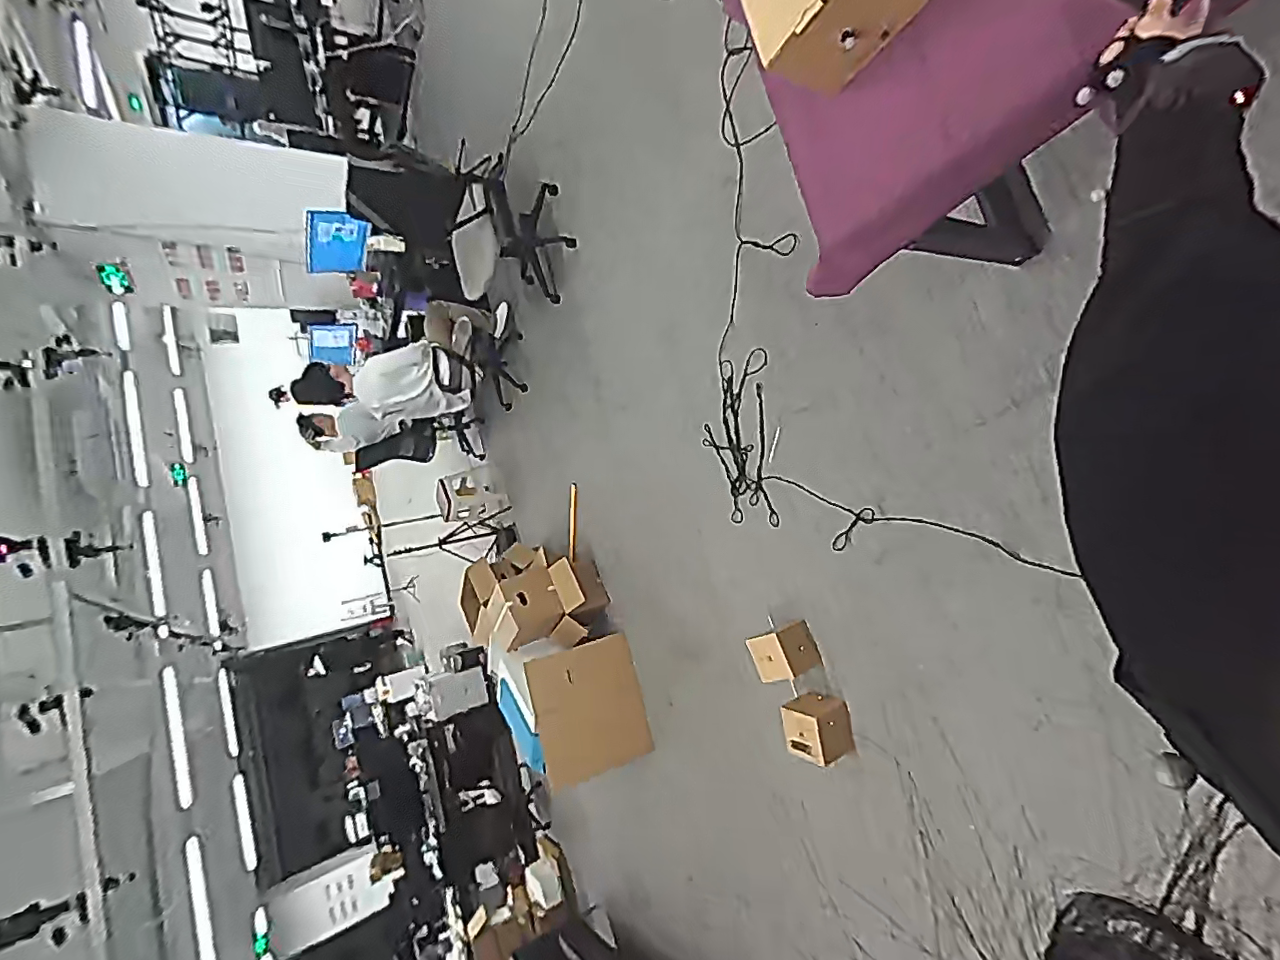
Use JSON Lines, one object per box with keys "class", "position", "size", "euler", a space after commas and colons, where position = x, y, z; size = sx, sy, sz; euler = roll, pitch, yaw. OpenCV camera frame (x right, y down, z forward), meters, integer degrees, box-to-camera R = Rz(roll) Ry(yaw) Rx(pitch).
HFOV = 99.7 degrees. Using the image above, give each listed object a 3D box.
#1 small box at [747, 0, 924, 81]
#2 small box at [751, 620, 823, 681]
{"class": "small box", "position": [0.271, -0.709, 0.764], "size": [0.168, 0.176, 0.179], "euler": [-25, 79, 56]}
{"class": "small box", "position": [0.557, 0.638, 2.026], "size": [0.179, 0.176, 0.168], "euler": [-41, 65, 53]}
